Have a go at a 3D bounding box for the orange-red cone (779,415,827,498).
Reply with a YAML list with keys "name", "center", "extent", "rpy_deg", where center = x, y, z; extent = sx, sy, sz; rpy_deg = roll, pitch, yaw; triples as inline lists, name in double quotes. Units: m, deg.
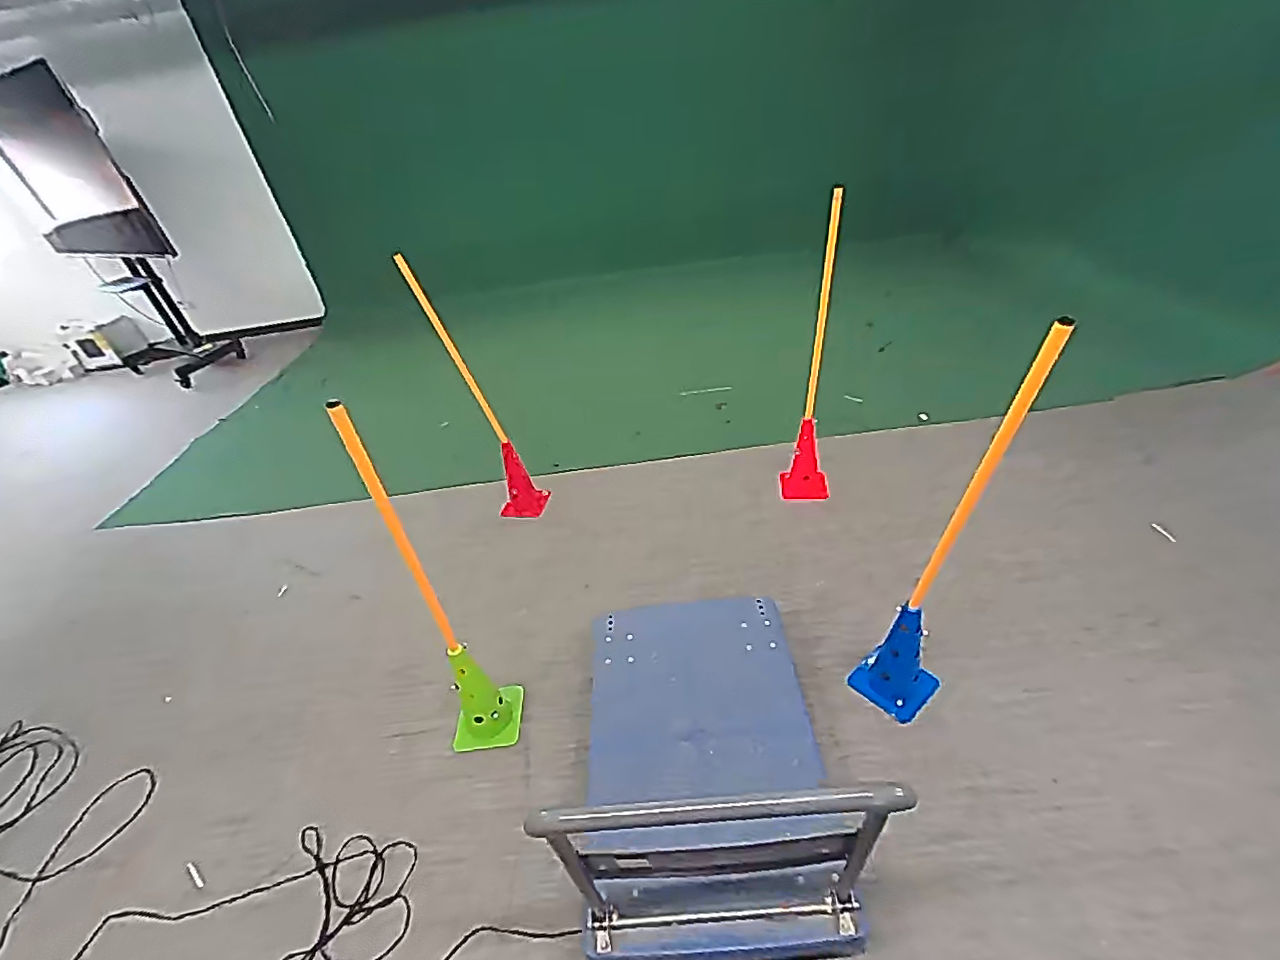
- name: "orange-red cone"
  center: [0.706, -0.117, 2.324]
  extent: [0.198, 0.360, 0.199]
  rpy_deg: [-1, 38, 12]
